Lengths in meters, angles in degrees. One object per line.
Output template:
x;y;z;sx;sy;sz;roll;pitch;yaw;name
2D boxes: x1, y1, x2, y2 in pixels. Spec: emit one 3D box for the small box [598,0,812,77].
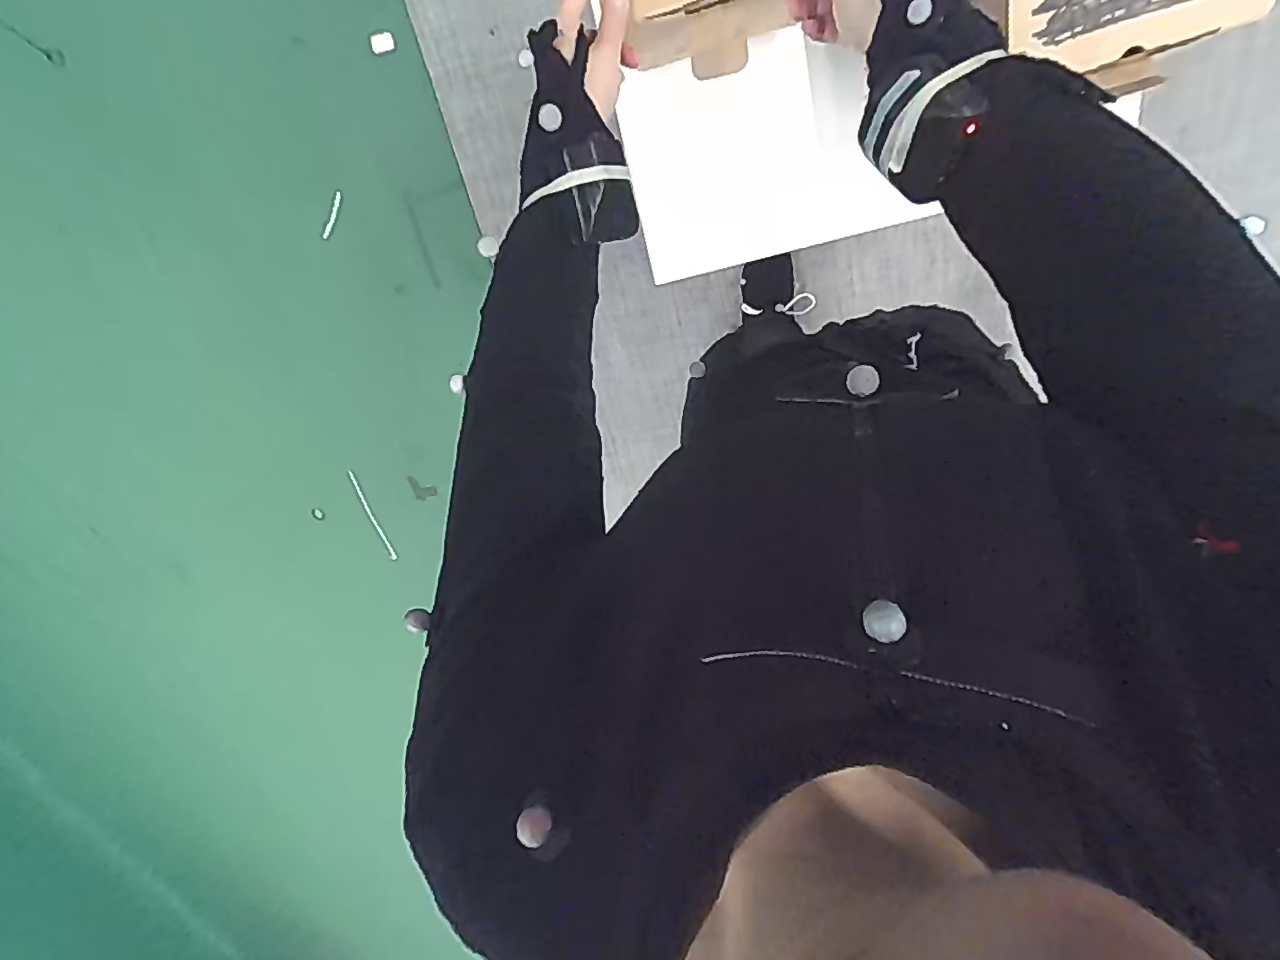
0.045;-0.458;0.430;0.168;0.176;0.179;-8;117;13;small box
